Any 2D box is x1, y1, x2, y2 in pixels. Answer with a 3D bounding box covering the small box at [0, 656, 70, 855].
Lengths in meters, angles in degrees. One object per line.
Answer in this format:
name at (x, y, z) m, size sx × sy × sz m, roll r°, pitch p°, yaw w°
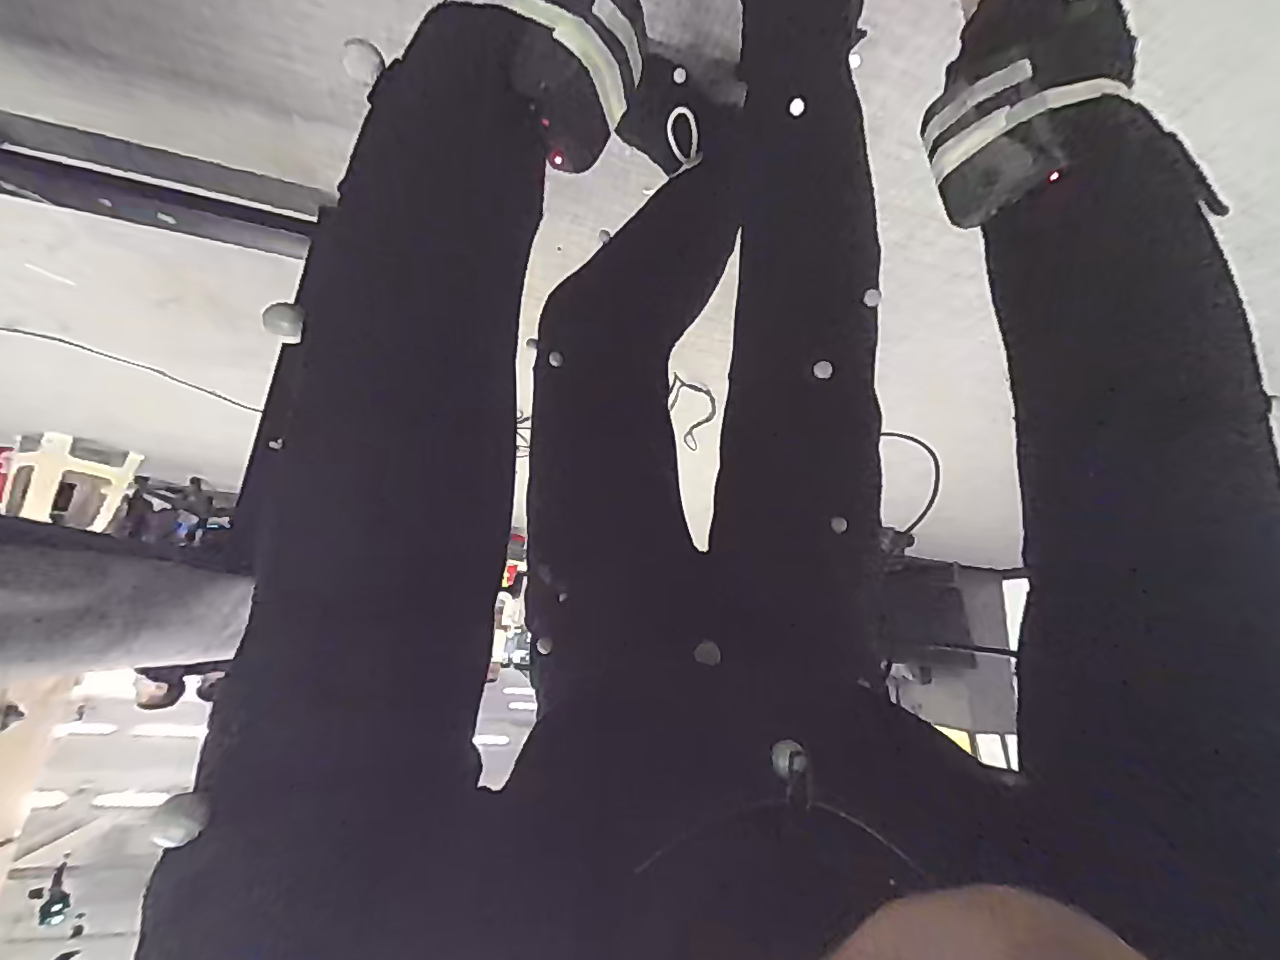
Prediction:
small box at (-0.628, 0.223, 0.422) m, size 0.179 × 0.176 × 0.168 m, roll 7°, pitch 163°, yaw -12°
